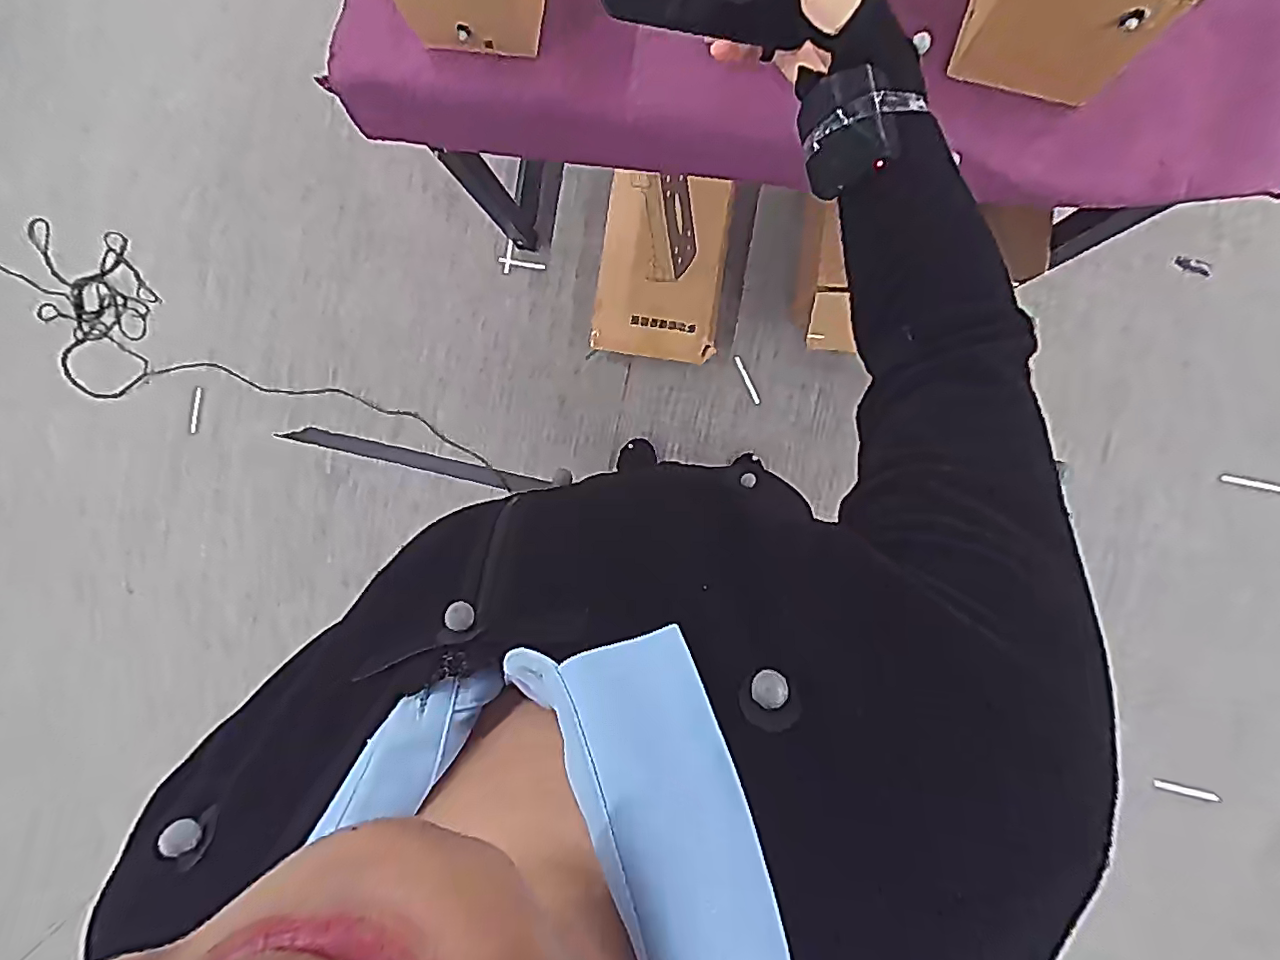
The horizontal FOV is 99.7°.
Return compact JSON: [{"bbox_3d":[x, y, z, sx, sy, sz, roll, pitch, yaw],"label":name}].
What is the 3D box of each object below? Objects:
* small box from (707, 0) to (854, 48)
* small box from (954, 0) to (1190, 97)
[{"bbox_3d":[0.178,-0.643,0.619,0.179,0.176,0.168,10,92,5],"label":"small box"},{"bbox_3d":[0.486,-0.566,0.593,0.179,0.176,0.168,17,95,4],"label":"small box"}]
